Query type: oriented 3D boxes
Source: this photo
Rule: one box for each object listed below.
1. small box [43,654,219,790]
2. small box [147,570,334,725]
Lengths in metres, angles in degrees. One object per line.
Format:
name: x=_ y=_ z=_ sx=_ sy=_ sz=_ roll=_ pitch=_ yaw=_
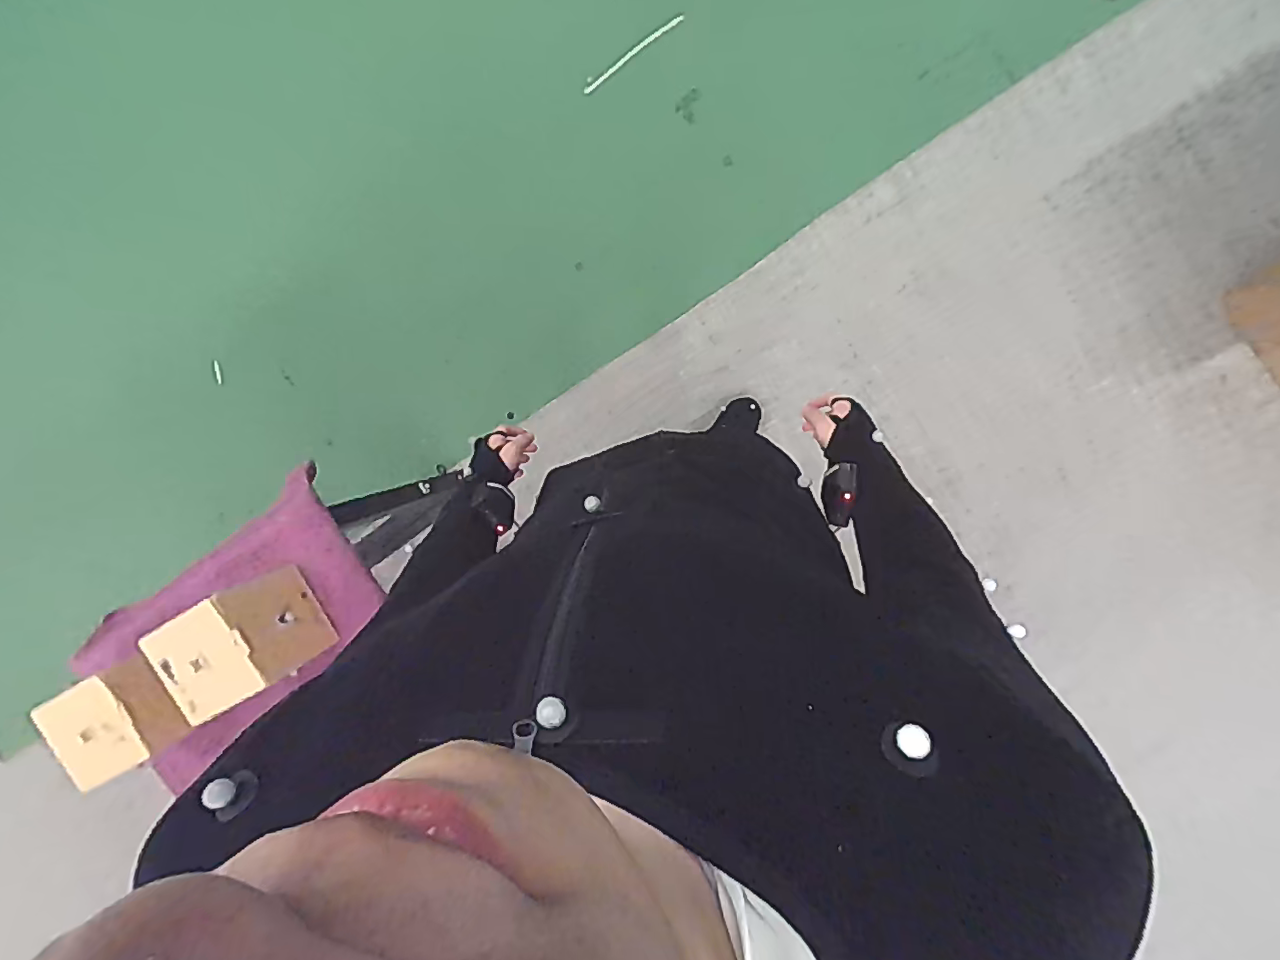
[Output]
small box: x=-0.905 y=0.420 z=0.997 sx=0.179 sy=0.176 sz=0.168 roll=-28 pitch=94 yaw=11
small box: x=-0.673 y=0.280 z=0.940 sx=0.179 sy=0.176 sz=0.168 roll=-28 pitch=94 yaw=12
